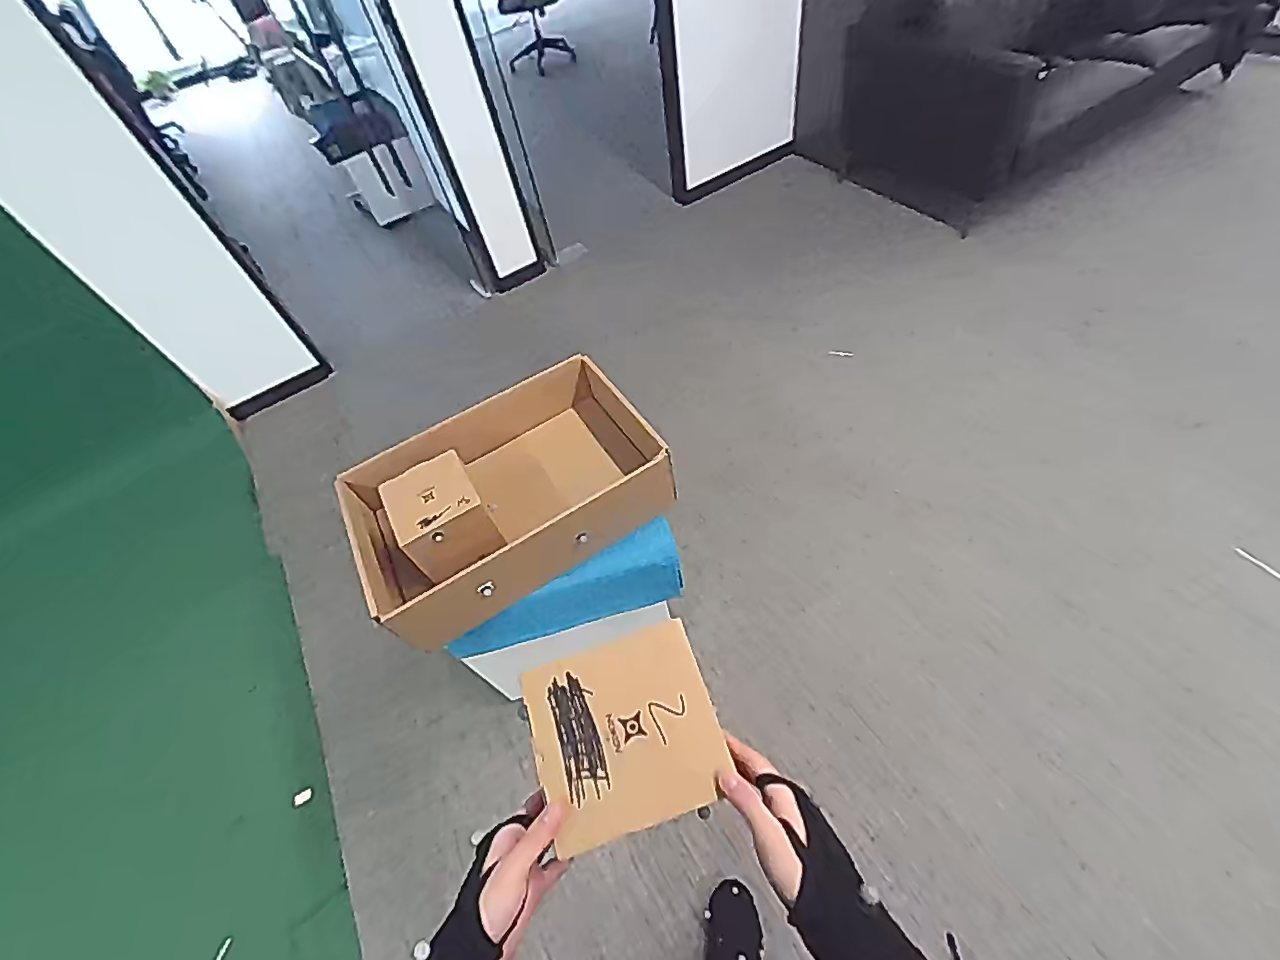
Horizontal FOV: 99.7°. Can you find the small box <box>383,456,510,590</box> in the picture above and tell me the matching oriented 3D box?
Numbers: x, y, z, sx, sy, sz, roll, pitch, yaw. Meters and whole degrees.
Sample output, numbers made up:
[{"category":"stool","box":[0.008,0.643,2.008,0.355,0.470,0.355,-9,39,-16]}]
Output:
[{"category":"small box","box":[-0.392,0.091,1.107,0.168,0.176,0.179,-30,52,-12]}]
